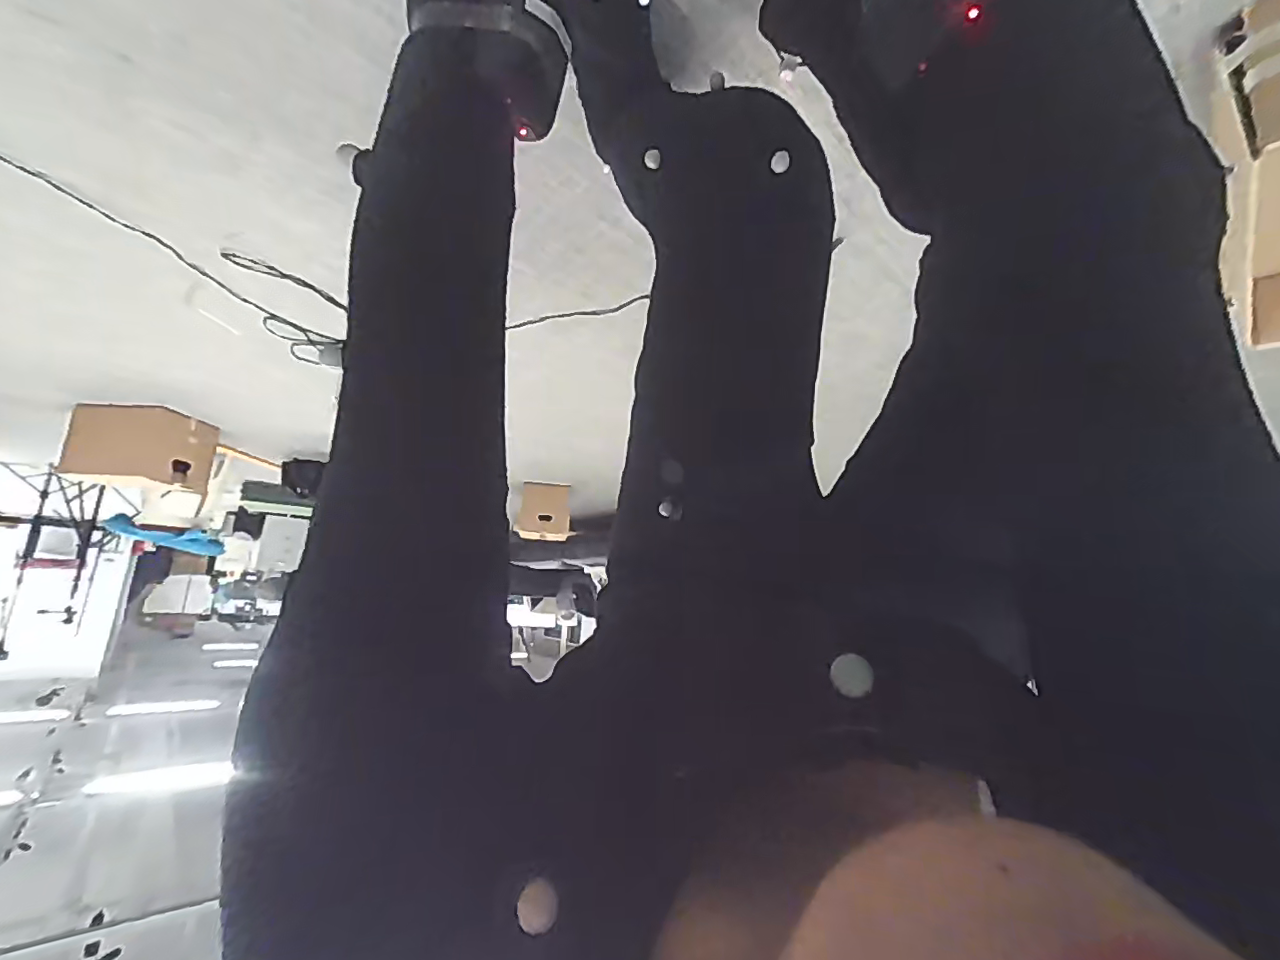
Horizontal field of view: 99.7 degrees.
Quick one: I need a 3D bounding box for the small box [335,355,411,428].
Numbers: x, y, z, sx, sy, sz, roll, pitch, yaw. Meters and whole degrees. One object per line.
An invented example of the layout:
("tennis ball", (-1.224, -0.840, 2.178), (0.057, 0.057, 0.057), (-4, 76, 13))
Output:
("small box", (-0.841, -0.277, 1.709), (0.179, 0.176, 0.168), (12, 164, -38))
